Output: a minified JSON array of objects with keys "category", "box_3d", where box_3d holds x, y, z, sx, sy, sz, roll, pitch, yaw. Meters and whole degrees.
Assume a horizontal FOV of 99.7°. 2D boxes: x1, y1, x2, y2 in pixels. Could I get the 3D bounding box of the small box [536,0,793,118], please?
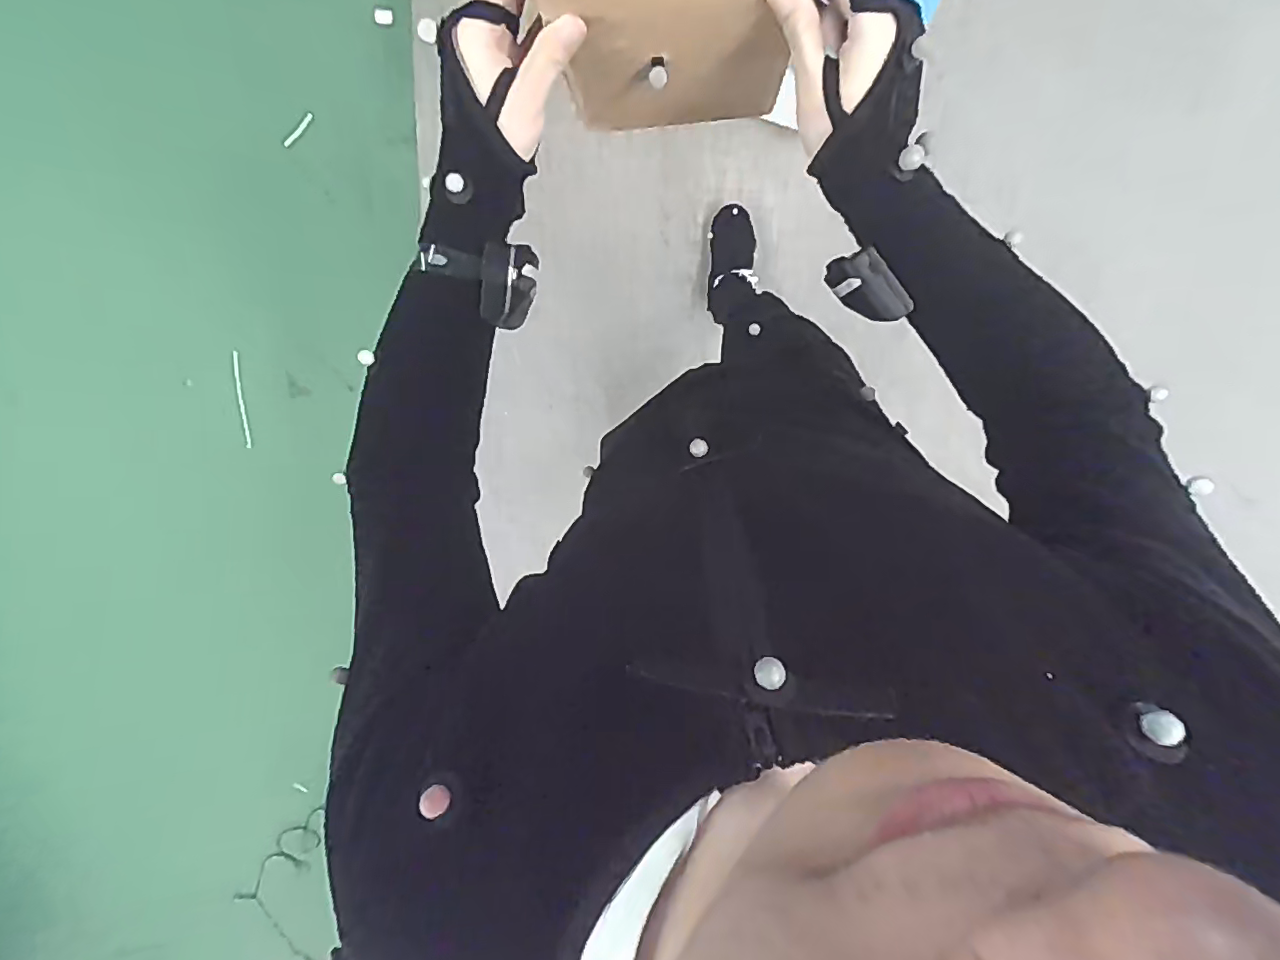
[{"category":"small box","box_3d":[0.022,-0.401,0.405,0.179,0.176,0.168,-2,100,5]}]
